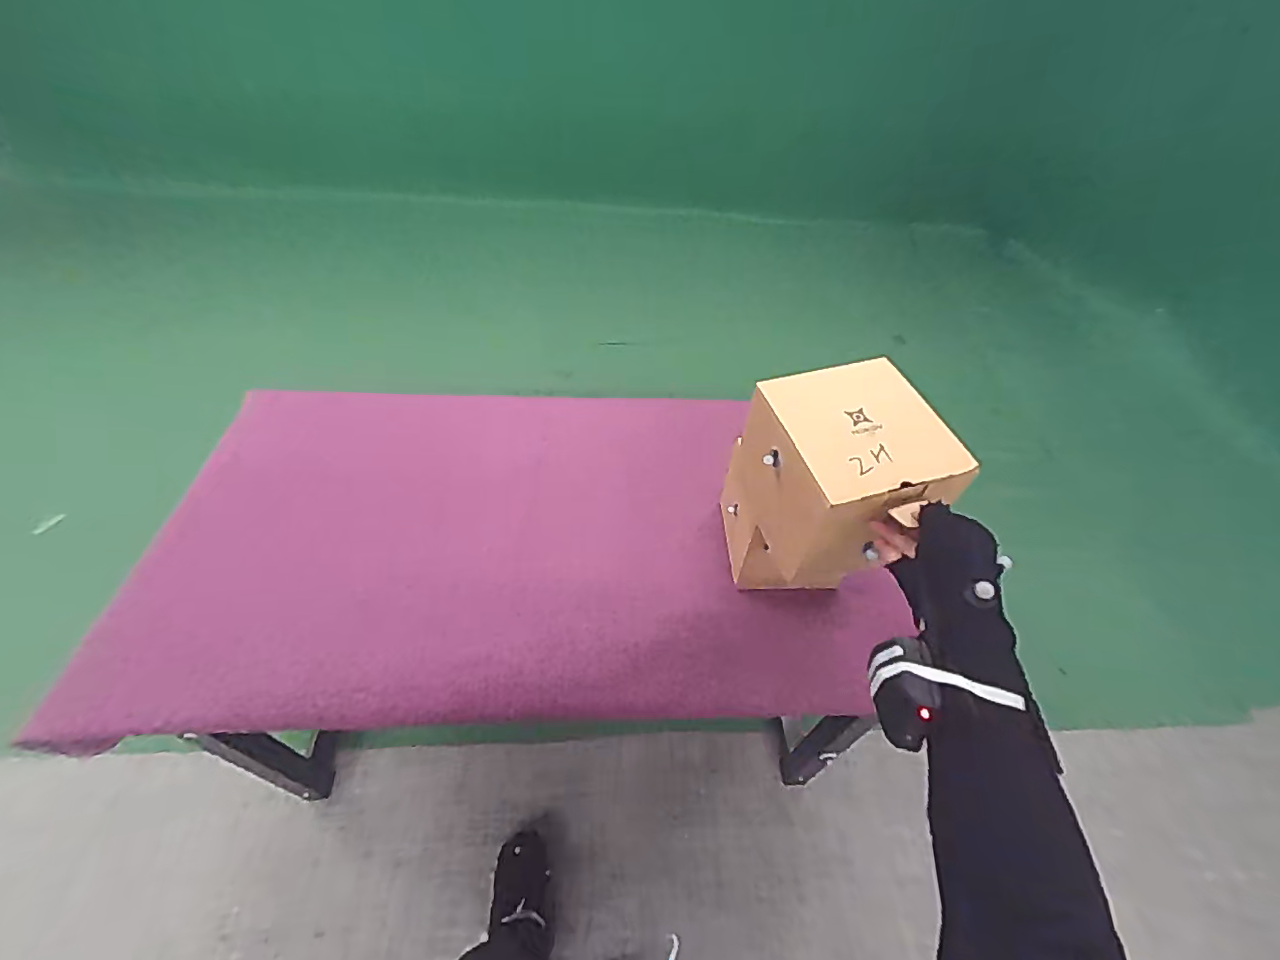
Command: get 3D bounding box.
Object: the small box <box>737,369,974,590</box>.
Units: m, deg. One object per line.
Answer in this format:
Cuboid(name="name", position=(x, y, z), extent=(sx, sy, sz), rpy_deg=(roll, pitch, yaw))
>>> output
Cuboid(name="small box", position=(0.226, 0.001, 0.628), extent=(0.168, 0.176, 0.179), rpy_deg=(-13, 54, -10))
